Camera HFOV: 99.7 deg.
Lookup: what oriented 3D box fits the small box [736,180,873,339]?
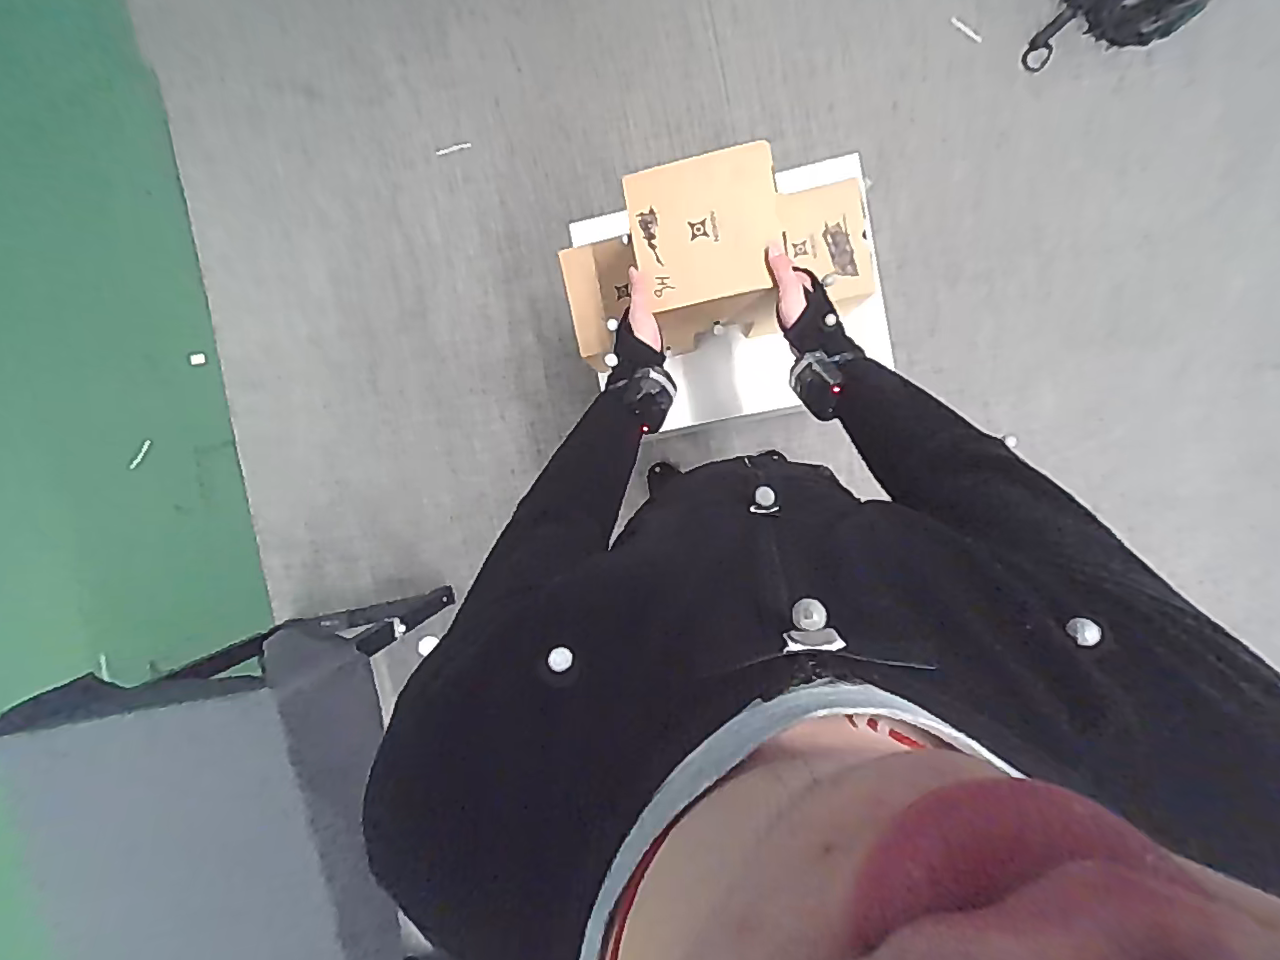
[{"bbox_3d":[0.236,-0.330,0.843,0.179,0.176,0.168,-11,92,6],"label":"small box"}]

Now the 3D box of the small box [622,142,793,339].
[{"bbox_3d":[0.080,-0.291,0.693,0.179,0.176,0.168,-10,92,4],"label":"small box"}]

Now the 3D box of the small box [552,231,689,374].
[{"bbox_3d":[-0.024,-0.278,0.866,0.179,0.176,0.168,-13,91,5],"label":"small box"}]
